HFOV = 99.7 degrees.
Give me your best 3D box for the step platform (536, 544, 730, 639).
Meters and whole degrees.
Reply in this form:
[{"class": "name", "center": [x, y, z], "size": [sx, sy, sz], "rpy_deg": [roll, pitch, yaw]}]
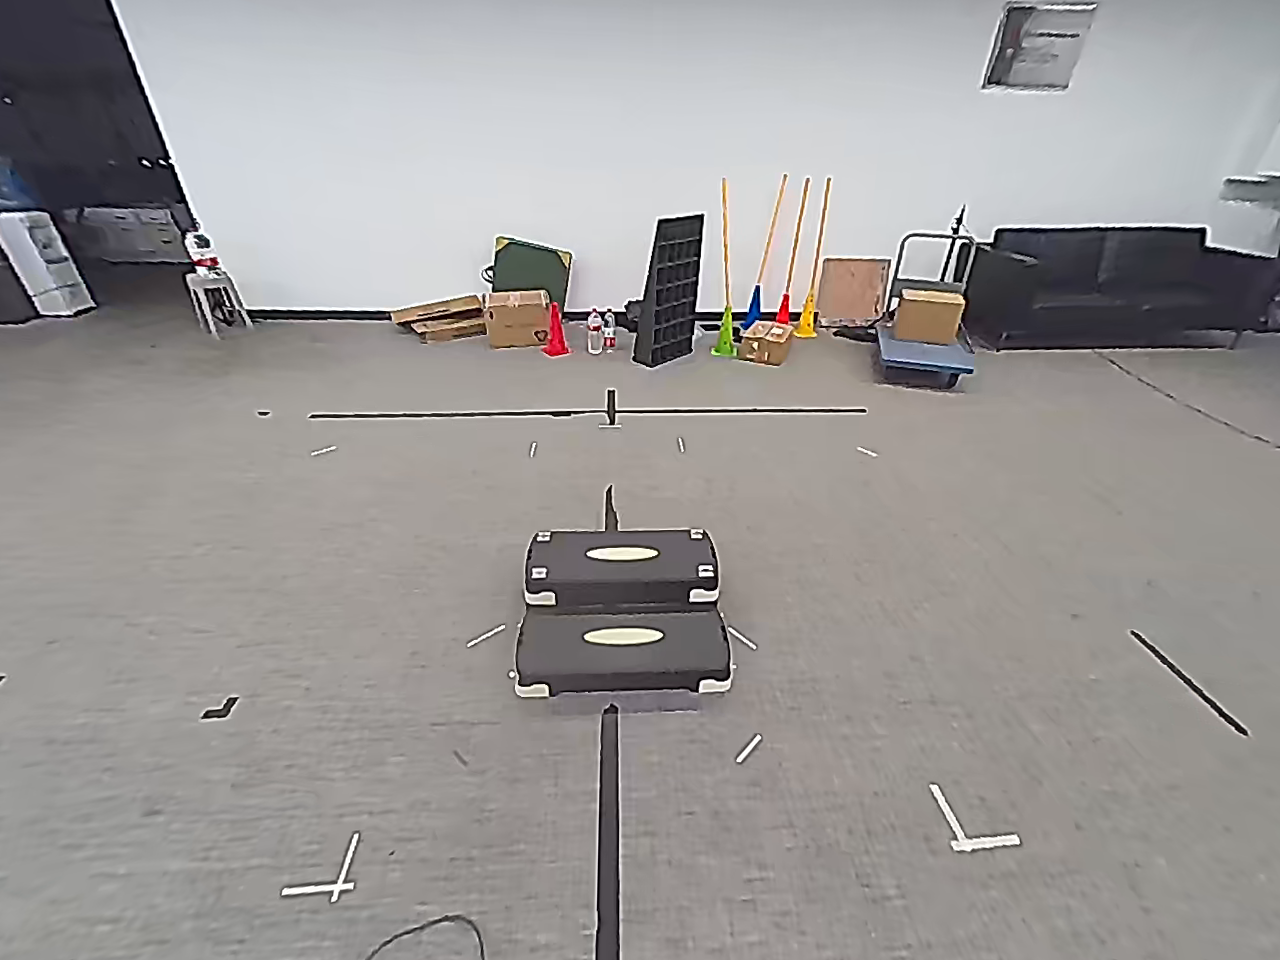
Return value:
[{"class": "step platform", "center": [-0.024, 0.391, 1.943], "size": [0.684, 0.204, 0.286], "rpy_deg": [2, 31, 1]}]
